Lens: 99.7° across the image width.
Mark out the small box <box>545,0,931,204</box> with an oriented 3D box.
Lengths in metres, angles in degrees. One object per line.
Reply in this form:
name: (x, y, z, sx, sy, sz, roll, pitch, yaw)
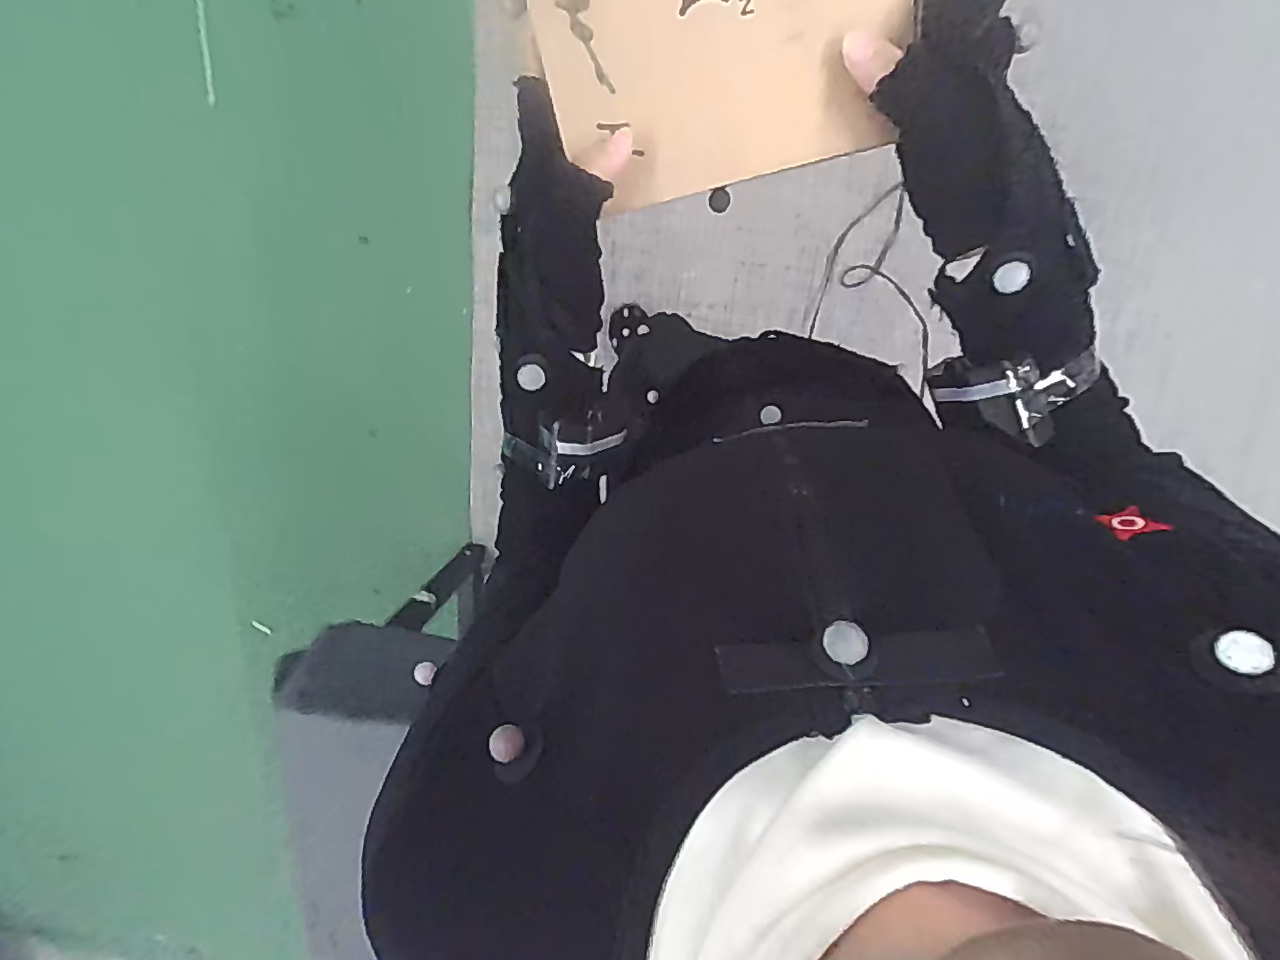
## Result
small box: (0.041, -0.267, 0.311, 0.179, 0.176, 0.168, -10, 116, 5)
